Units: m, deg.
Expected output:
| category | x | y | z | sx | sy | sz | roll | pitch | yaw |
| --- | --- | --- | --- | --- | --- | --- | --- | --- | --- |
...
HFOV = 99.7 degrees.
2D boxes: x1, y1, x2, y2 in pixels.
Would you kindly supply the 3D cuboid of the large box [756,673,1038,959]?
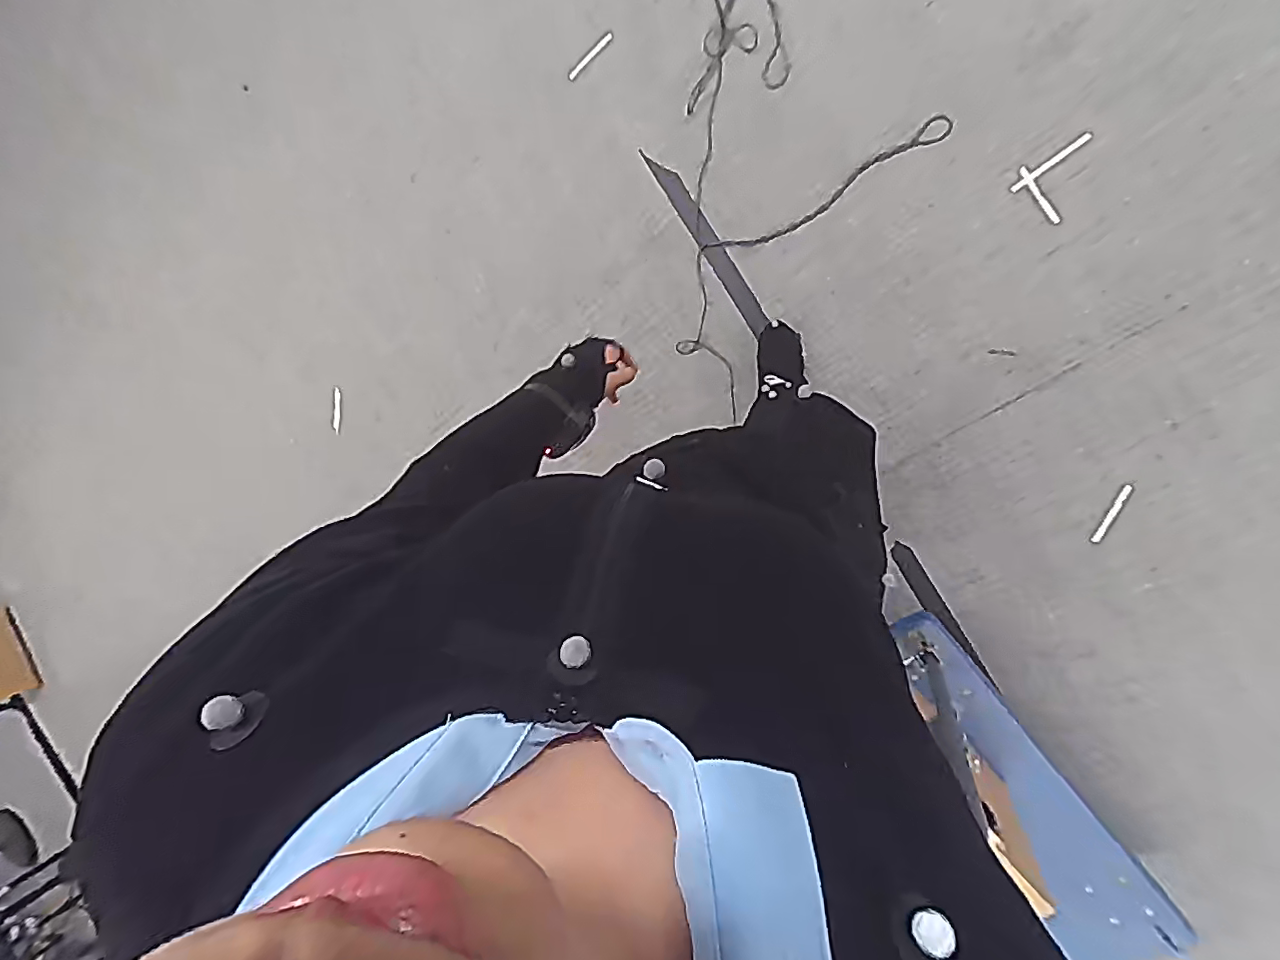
| category | x | y | z | sx | sy | sz | roll | pitch | yaw |
| --- | --- | --- | --- | --- | --- | --- | --- | --- | --- |
| large box | 0.516 | 0.702 | 1.161 | 0.320 | 0.320 | 0.408 | 48 | 113 | 6 |
